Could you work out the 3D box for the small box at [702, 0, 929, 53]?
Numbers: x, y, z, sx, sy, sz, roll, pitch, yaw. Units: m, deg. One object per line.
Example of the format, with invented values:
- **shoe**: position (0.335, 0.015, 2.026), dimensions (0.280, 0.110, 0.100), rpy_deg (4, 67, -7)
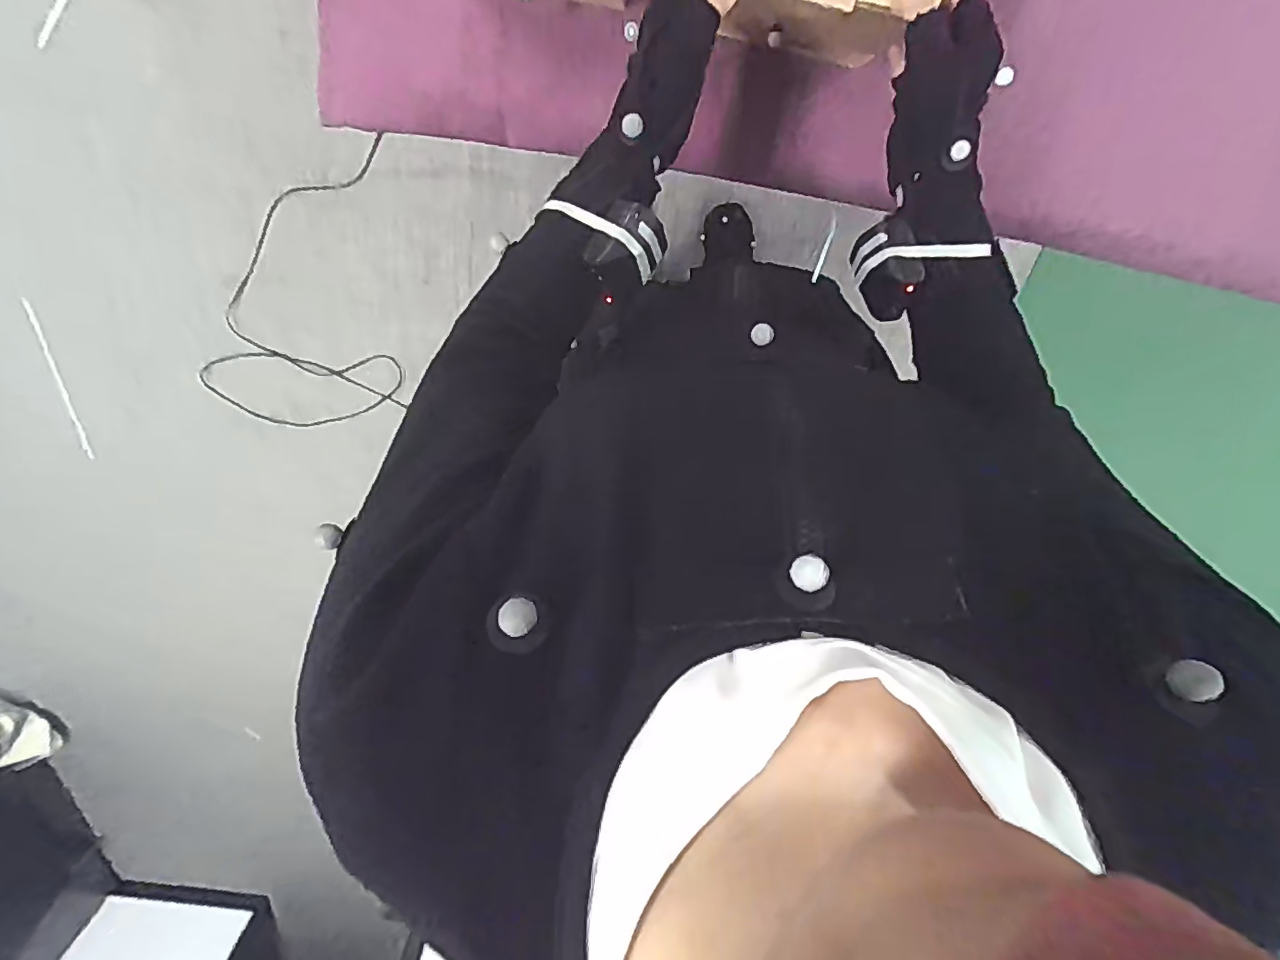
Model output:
- **small box**: position (0.147, -0.469, 0.418), dimensions (0.168, 0.176, 0.179), rpy_deg (10, 120, -4)
